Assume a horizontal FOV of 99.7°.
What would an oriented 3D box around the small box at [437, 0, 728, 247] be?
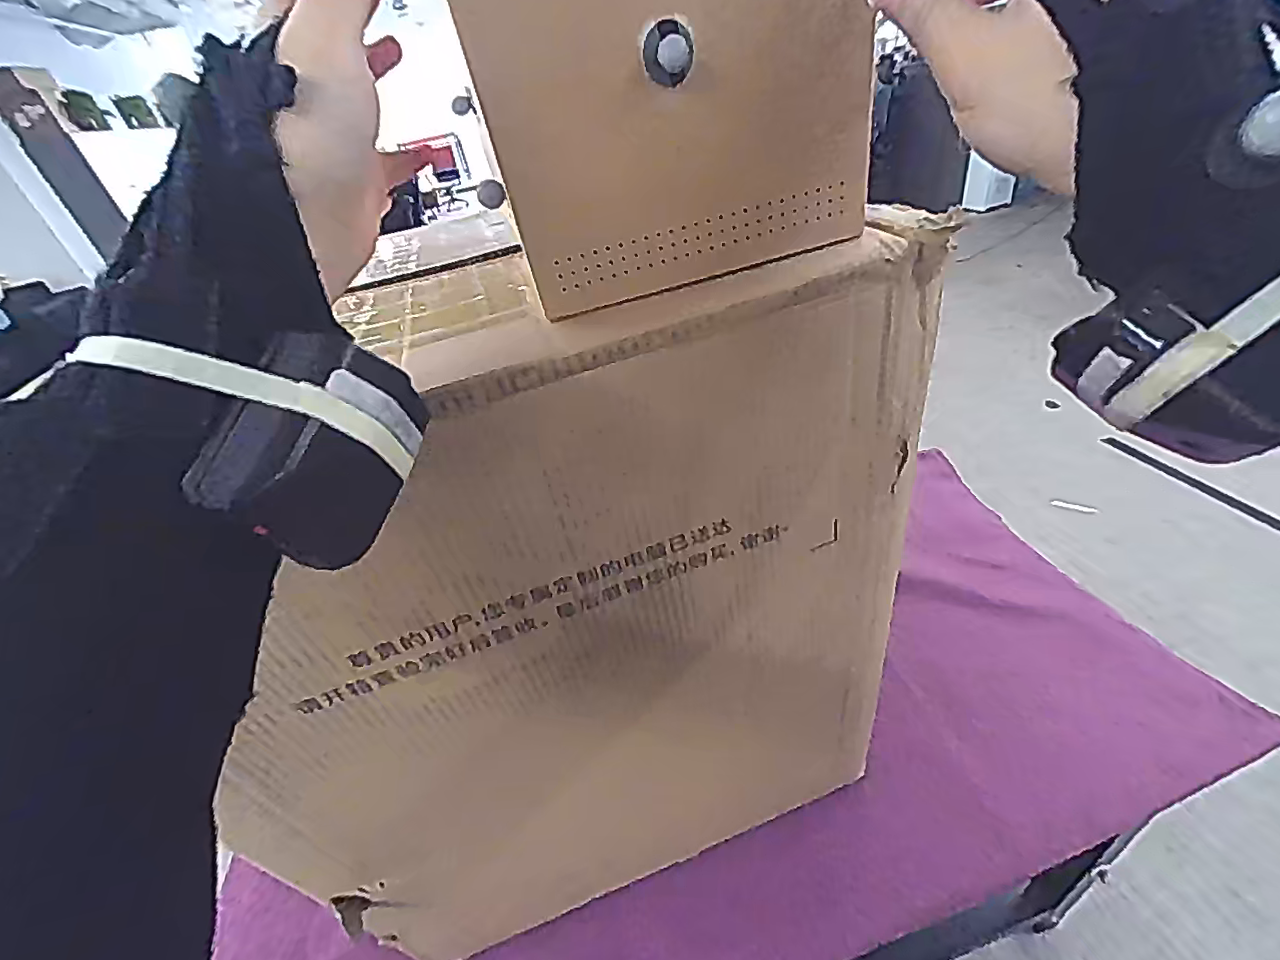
[{"bbox_3d":[-0.044,-0.302,0.433,0.179,0.176,0.168,-19,36,-8],"label":"small box"}]
